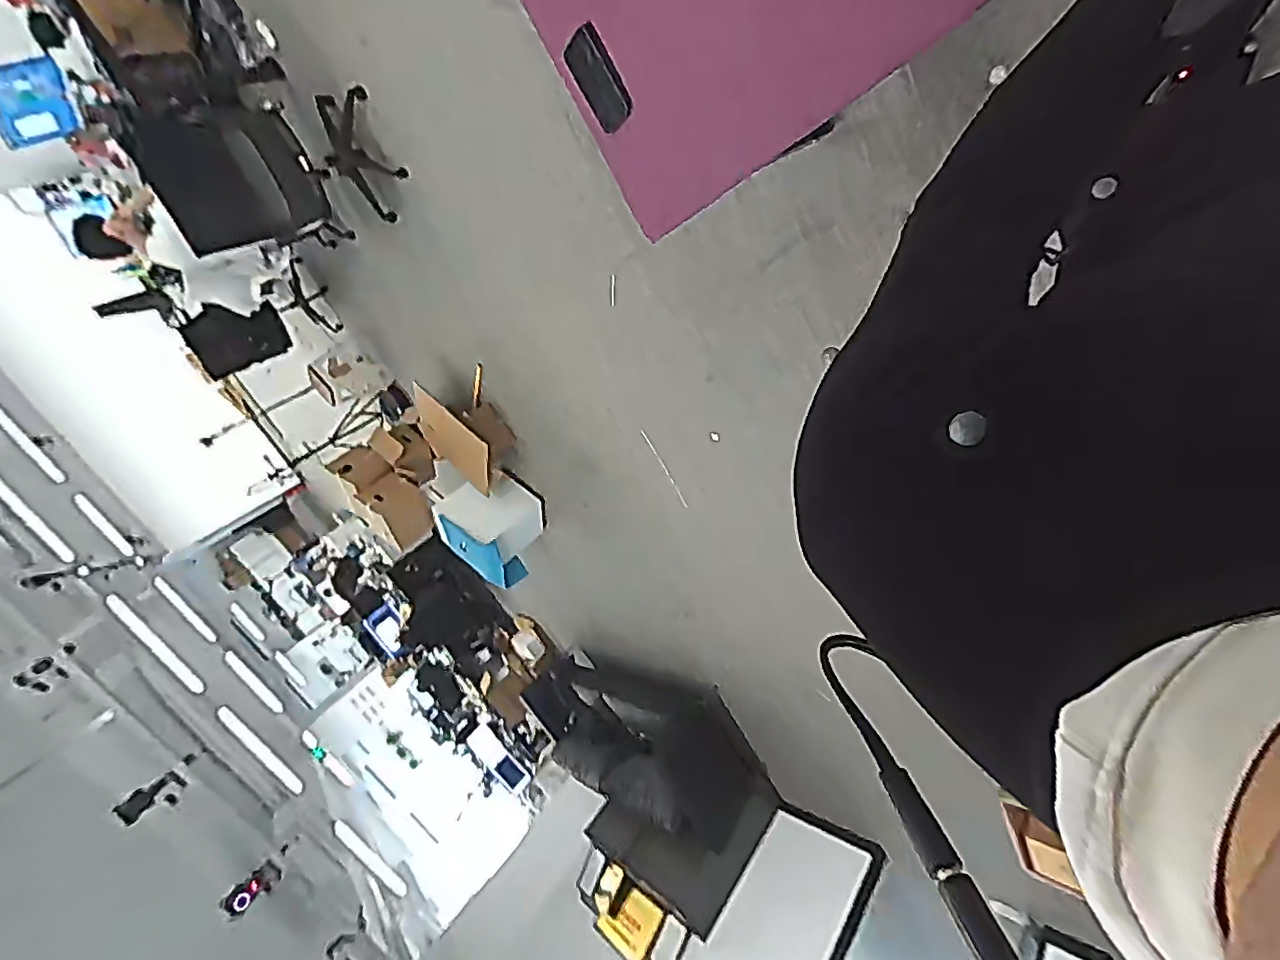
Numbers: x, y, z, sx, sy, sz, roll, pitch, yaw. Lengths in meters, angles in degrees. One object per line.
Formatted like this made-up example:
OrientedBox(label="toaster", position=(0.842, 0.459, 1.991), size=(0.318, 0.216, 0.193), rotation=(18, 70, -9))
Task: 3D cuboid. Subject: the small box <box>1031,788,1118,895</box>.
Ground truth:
OrientedBox(label="small box", position=(1.315, 1.082, 1.631), size=(0.168, 0.176, 0.179), rotation=(-1, 122, 52))
